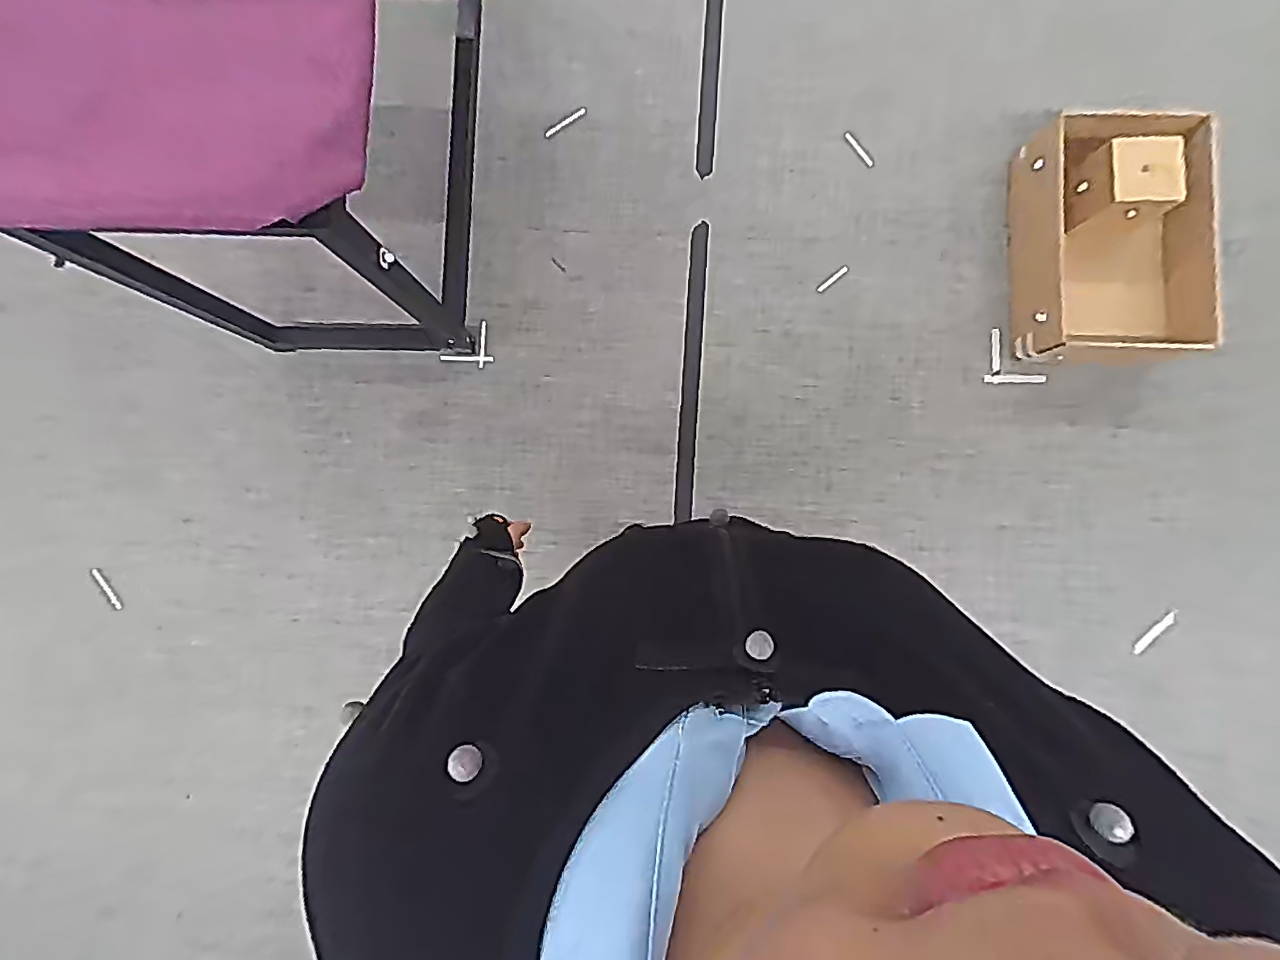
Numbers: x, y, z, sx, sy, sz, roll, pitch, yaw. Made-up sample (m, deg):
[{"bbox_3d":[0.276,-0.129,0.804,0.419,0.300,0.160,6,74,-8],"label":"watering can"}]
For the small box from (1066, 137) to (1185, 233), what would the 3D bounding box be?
[{"bbox_3d":[1.265,-0.768,1.423,0.179,0.176,0.168,0,88,1],"label":"small box"}]
